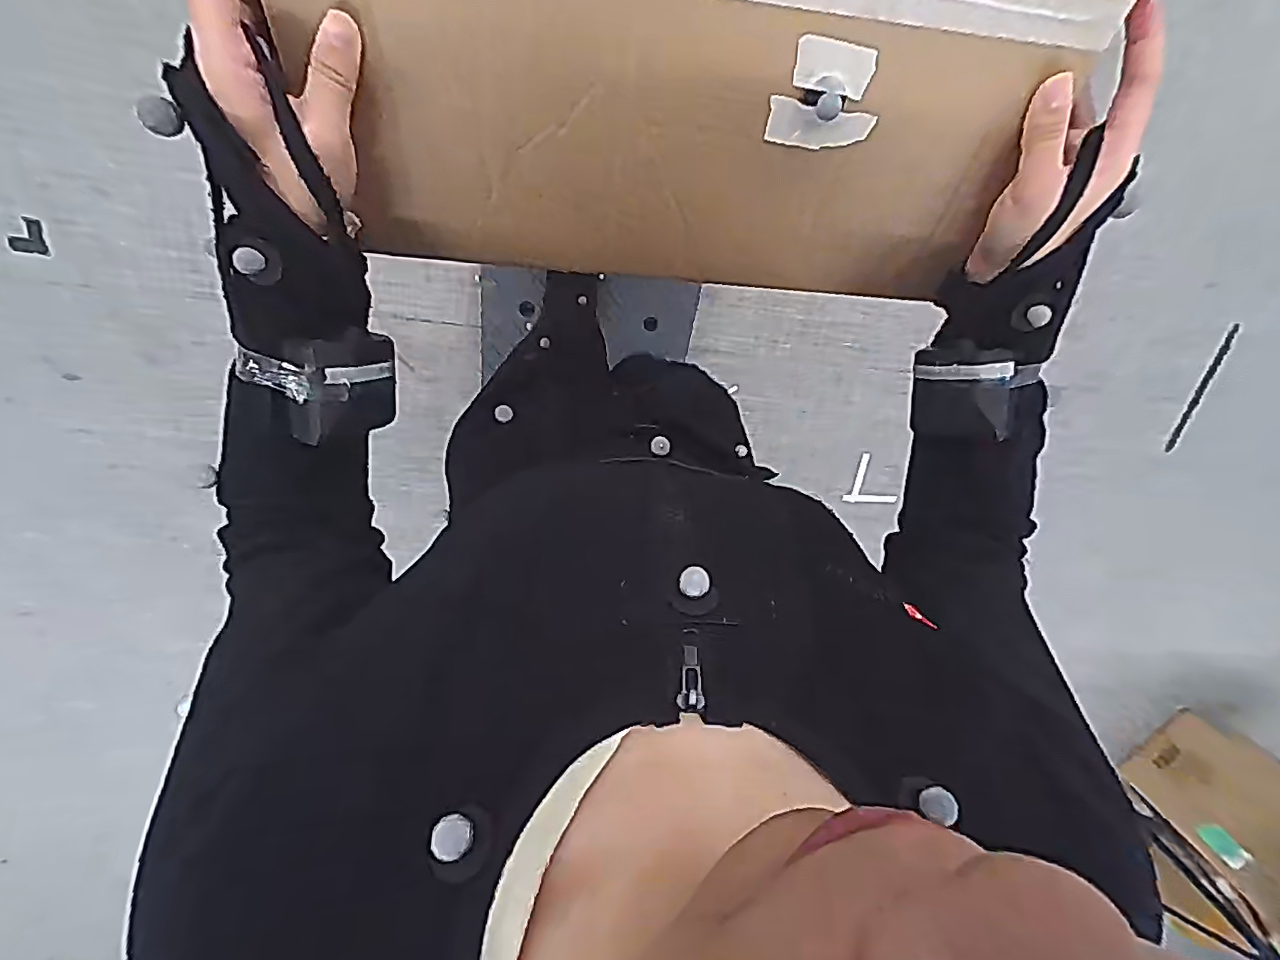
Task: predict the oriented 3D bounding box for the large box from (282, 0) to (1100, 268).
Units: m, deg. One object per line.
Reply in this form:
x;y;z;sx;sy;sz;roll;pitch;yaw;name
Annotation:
0.024;-0.364;0.334;0.408;0.320;0.320;1;142;-8;large box

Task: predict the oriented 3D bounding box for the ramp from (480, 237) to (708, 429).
-0.081;-0.555;1.129;0.509;0.206;0.991;2;116;-10;ramp
